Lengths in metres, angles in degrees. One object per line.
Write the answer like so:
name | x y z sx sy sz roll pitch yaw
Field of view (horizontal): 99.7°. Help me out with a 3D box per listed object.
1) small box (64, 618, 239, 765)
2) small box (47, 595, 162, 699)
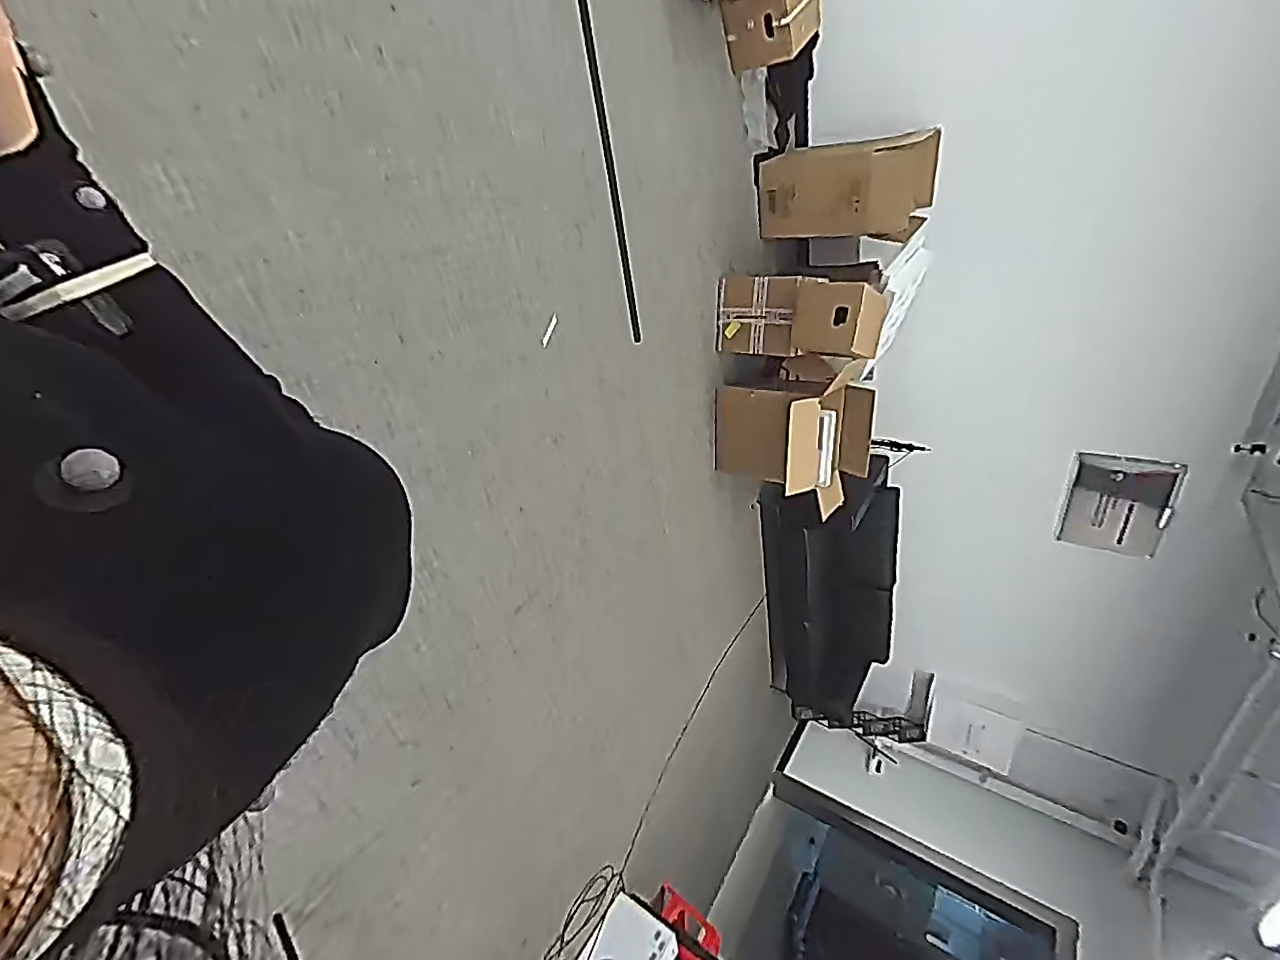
small box | -0.941 0.396 1.045 0.179 0.176 0.168 -44 132 -41
small box | -1.078 0.374 1.134 0.179 0.176 0.168 -46 135 -39
